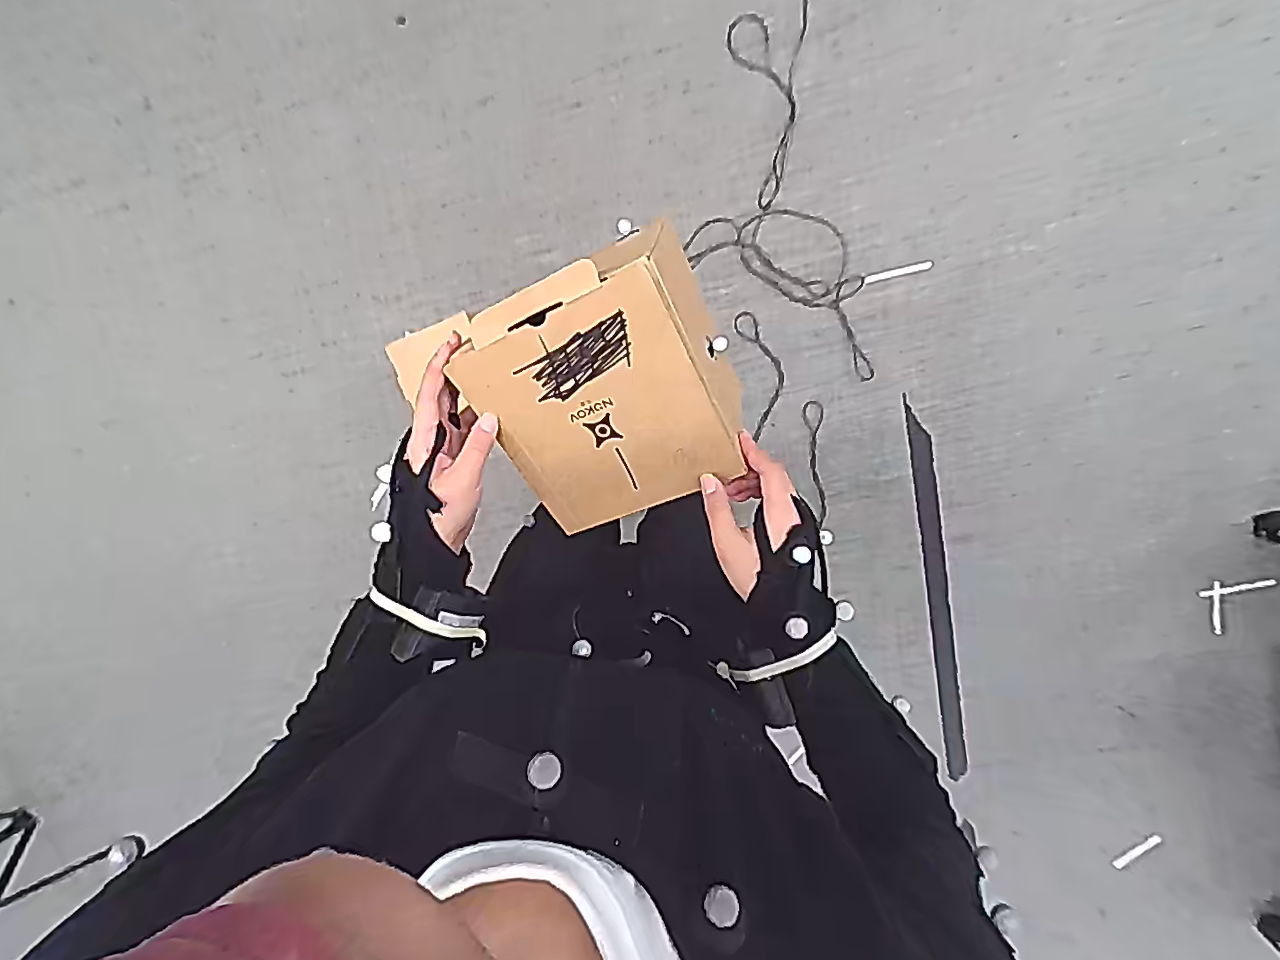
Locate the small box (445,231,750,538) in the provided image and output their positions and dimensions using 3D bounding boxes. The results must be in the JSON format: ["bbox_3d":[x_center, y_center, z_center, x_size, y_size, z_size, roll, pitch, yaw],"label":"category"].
[{"bbox_3d":[-0.019,-0.086,0.450,0.168,0.176,0.179,-19,120,19],"label":"small box"}]

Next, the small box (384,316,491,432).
[{"bbox_3d":[-0.352,-0.210,1.060,0.179,0.176,0.168,-19,100,11],"label":"small box"}]
